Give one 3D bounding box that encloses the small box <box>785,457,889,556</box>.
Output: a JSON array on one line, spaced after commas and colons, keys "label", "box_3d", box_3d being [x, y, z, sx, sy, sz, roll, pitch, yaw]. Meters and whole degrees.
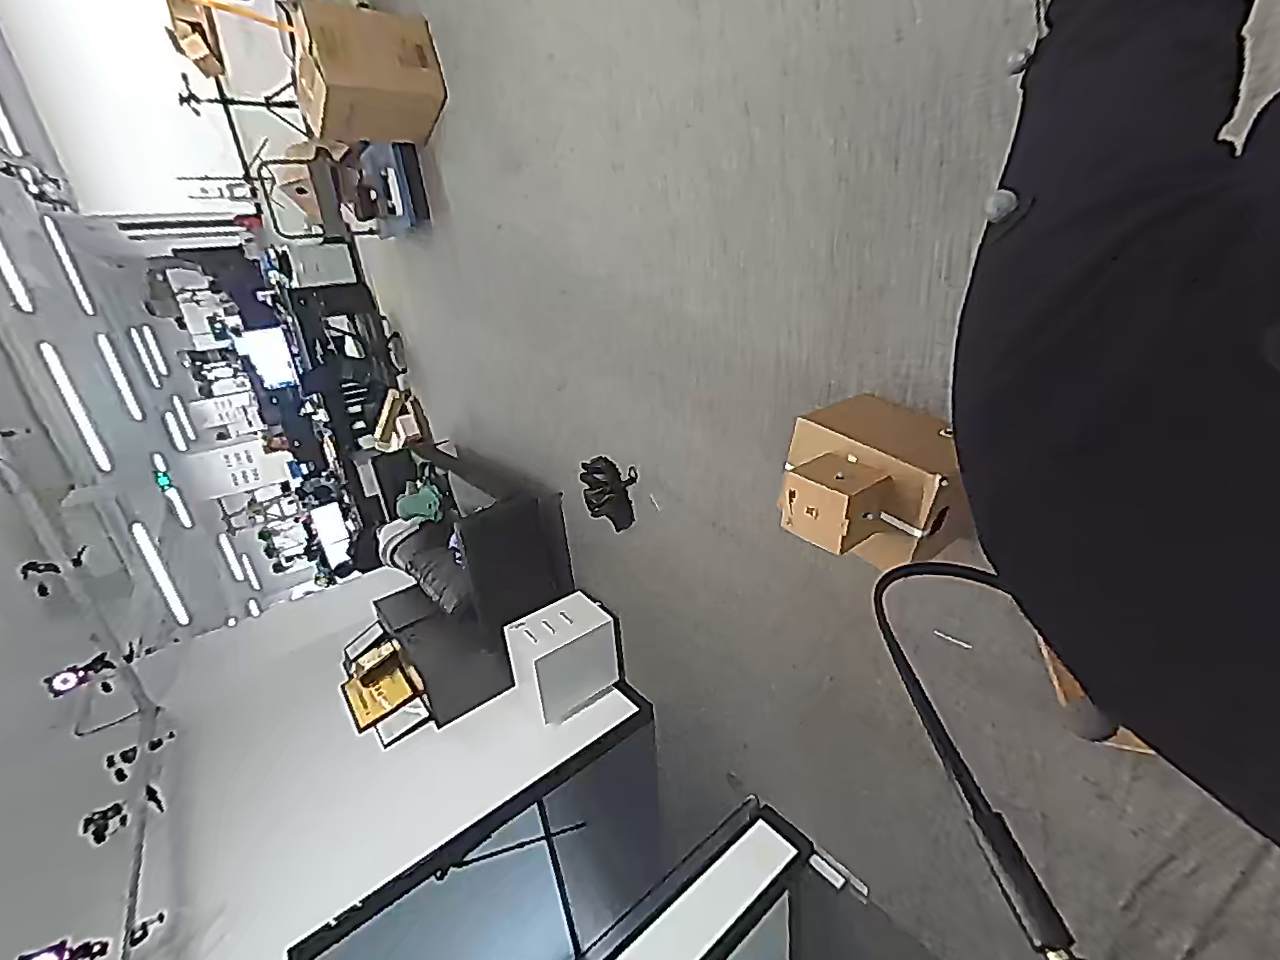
[{"label": "small box", "box_3d": [0.490, 0.057, 1.344, 0.179, 0.176, 0.168, 28, 129, 44]}]
